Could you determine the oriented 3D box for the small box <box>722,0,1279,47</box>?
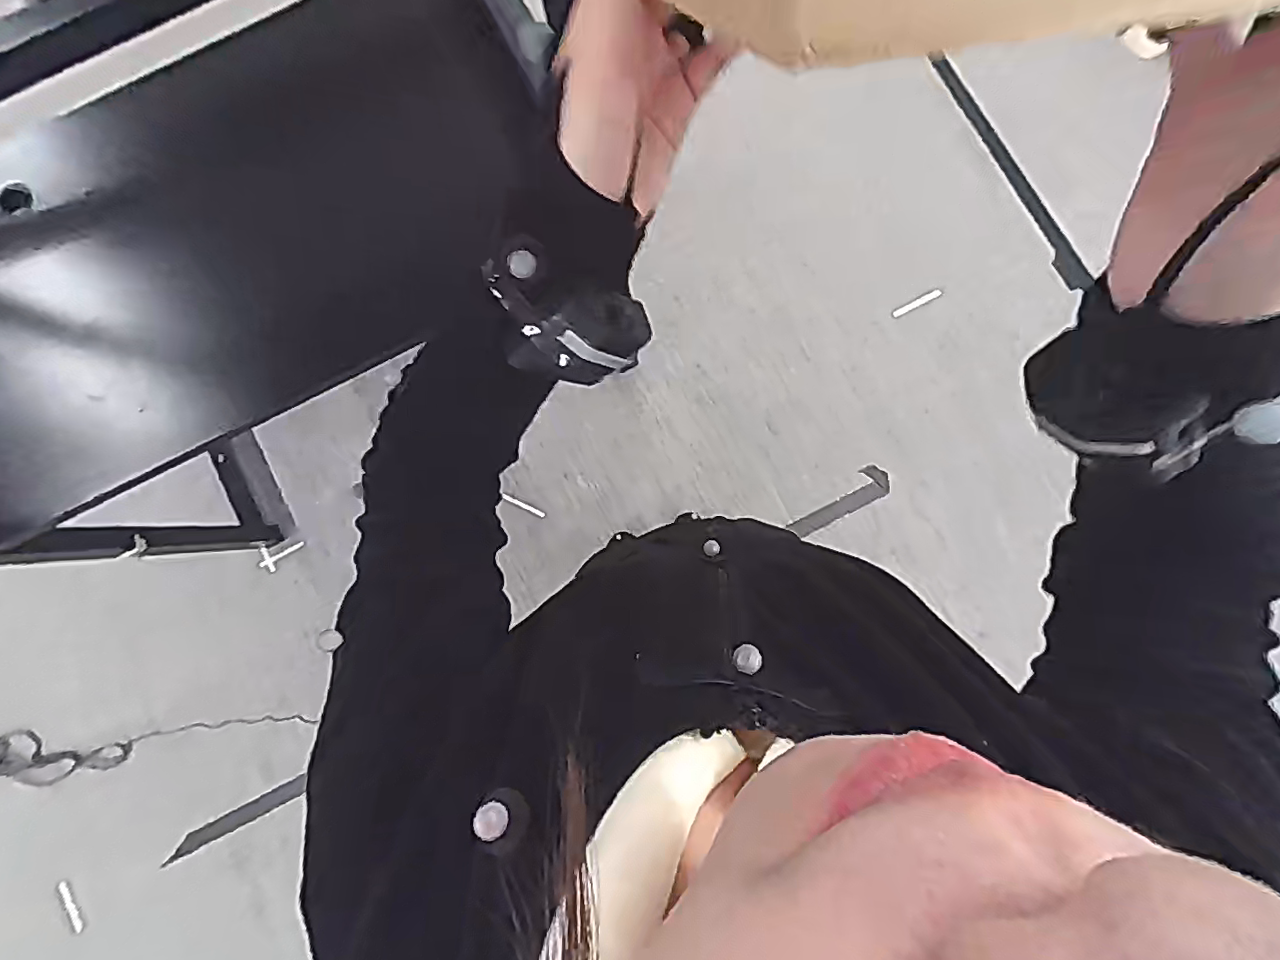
[{"bbox_3d":[0.102,-0.213,0.112,0.179,0.168,0.176,-11,47,-7],"label":"small box"}]
